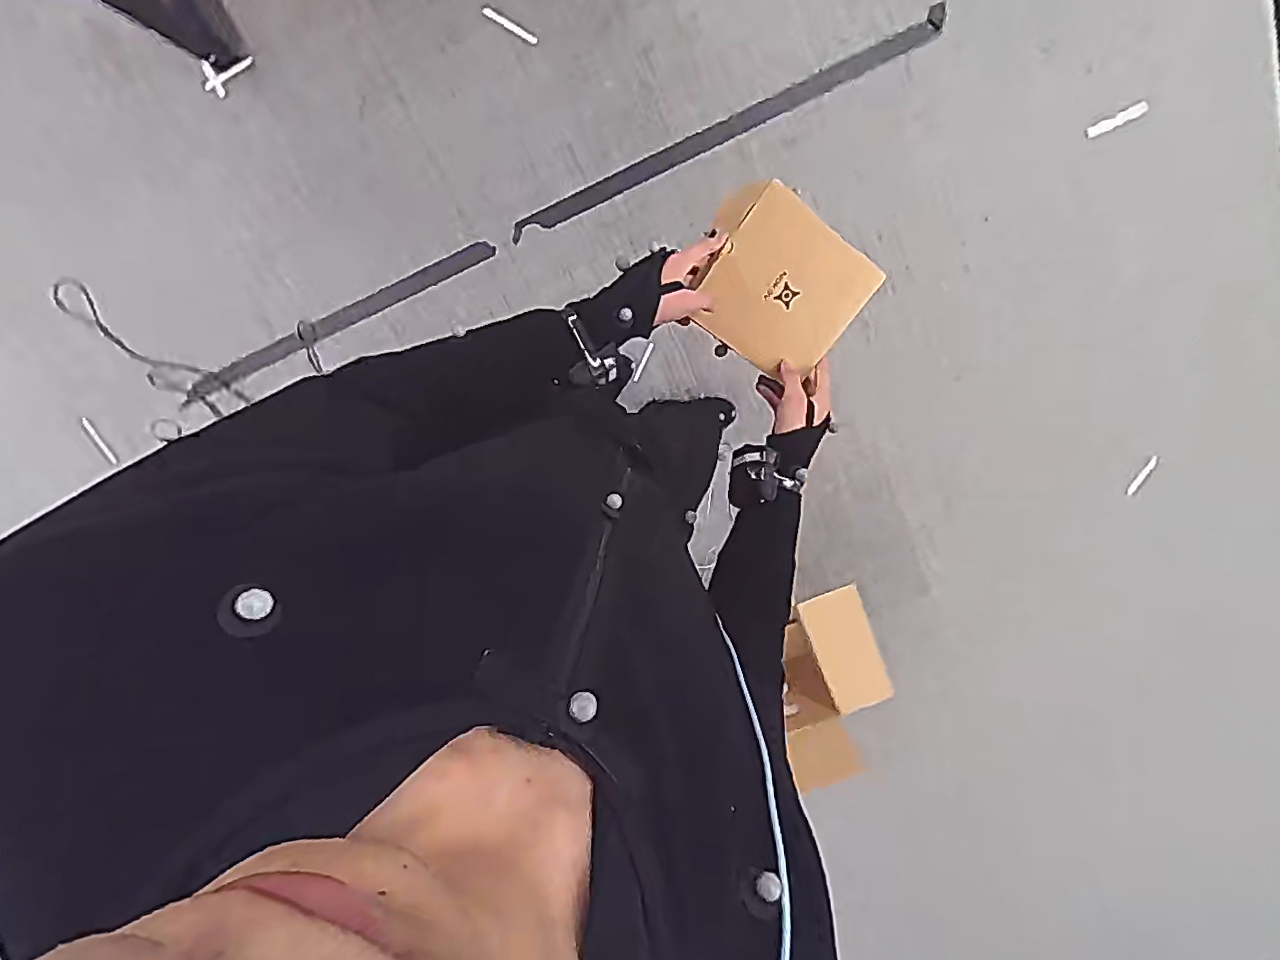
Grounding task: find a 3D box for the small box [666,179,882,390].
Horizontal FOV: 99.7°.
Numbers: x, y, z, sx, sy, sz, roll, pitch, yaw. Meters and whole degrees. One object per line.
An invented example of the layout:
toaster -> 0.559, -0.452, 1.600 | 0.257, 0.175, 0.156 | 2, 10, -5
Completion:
small box -> 0.152, -0.244, 0.676 | 0.179, 0.176, 0.168 | 30, 110, -16
